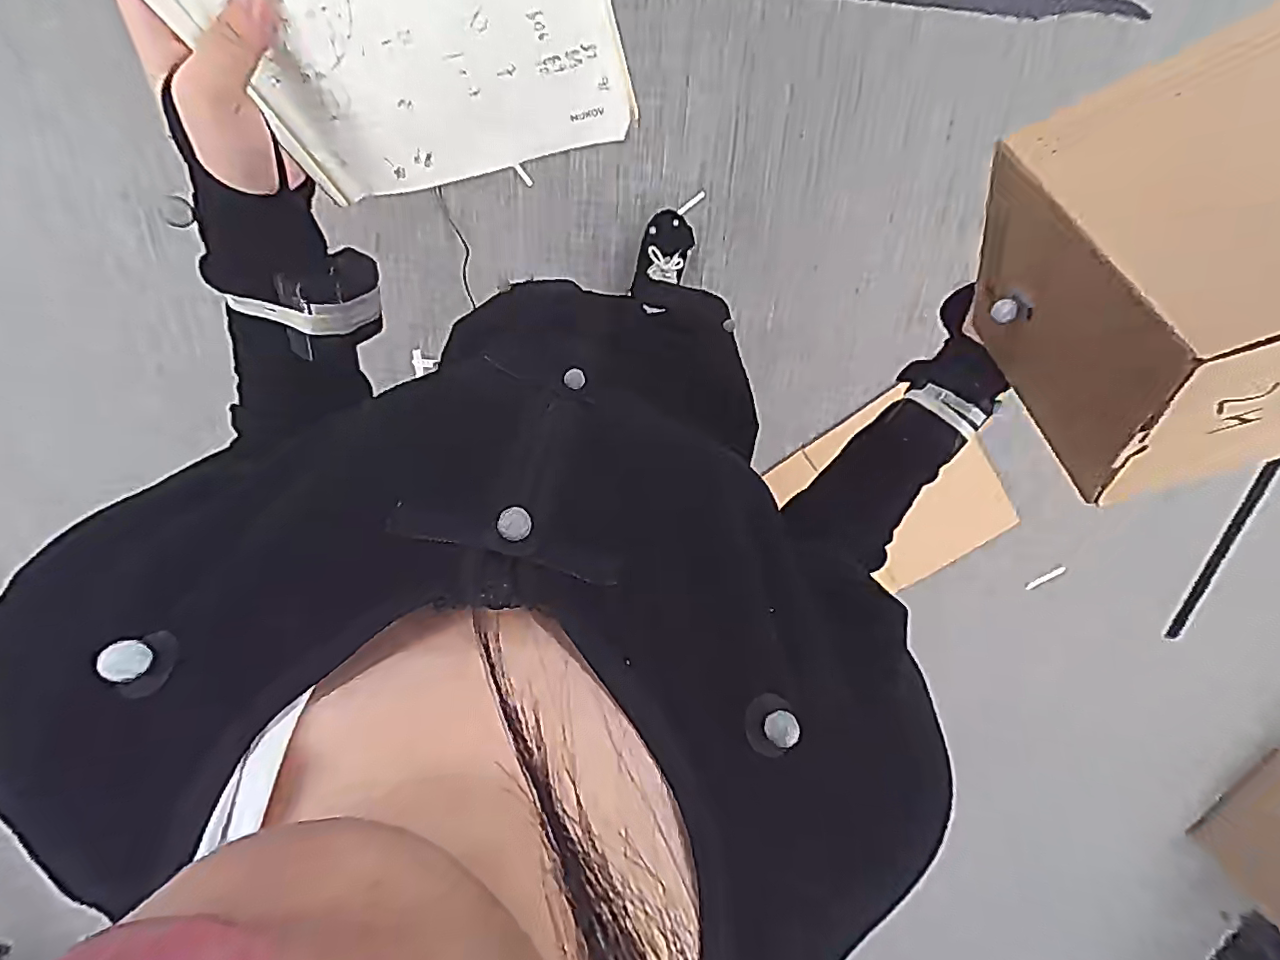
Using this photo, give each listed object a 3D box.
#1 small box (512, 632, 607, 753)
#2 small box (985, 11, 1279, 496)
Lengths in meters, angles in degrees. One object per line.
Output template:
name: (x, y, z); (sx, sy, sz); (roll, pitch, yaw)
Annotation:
small box: (-0.166, 0.445, 1.147); (0.179, 0.176, 0.168); (6, 115, -5)
small box: (0.324, -0.118, 0.289); (0.179, 0.176, 0.168); (-19, 149, 18)
